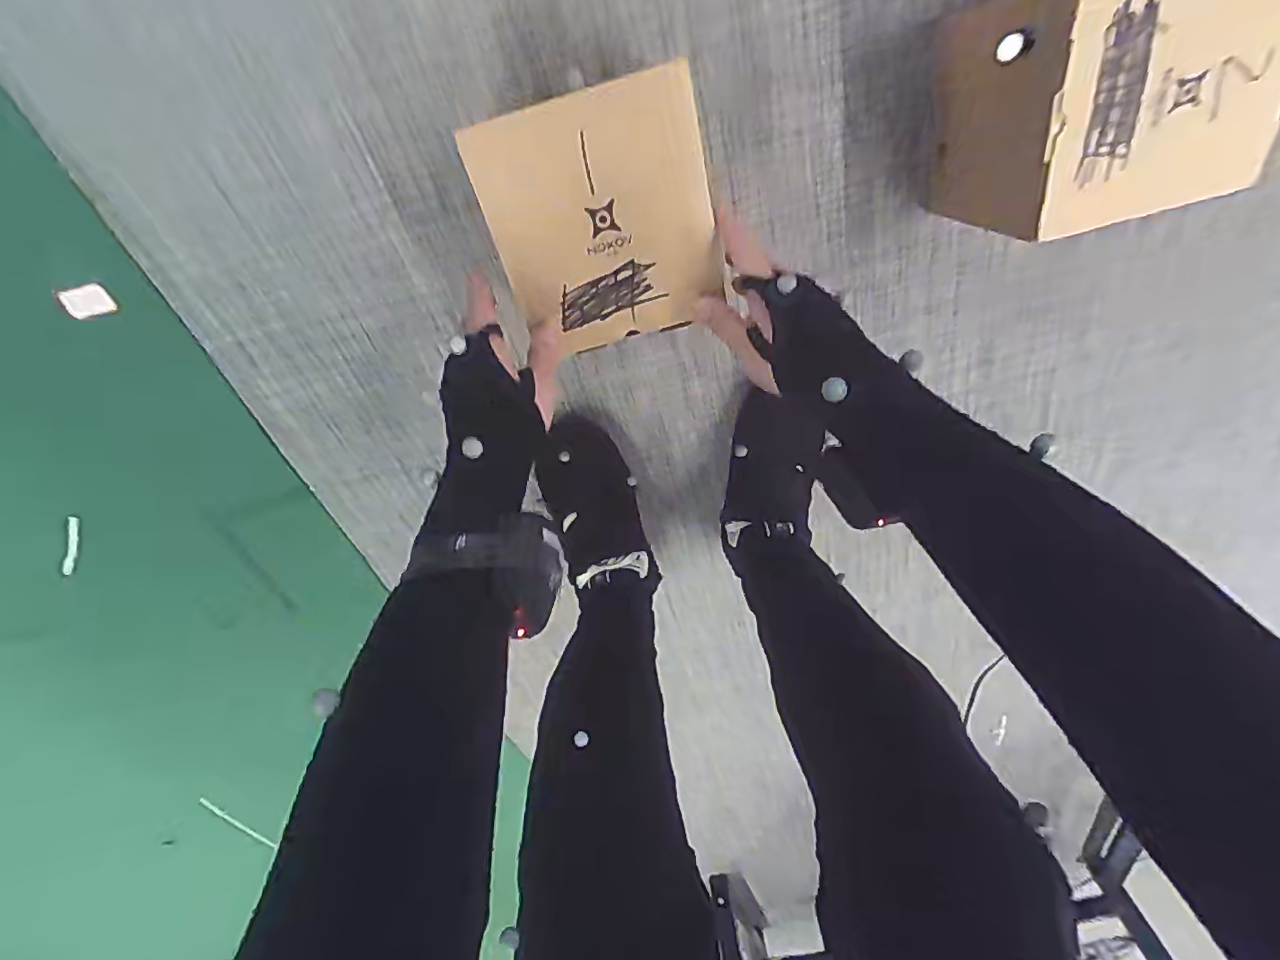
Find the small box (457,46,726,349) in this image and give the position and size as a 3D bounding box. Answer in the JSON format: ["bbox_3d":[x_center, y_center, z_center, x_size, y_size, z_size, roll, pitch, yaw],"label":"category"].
[{"bbox_3d":[-0.031,-0.241,0.468,0.168,0.176,0.179,-14,124,4],"label":"small box"}]
